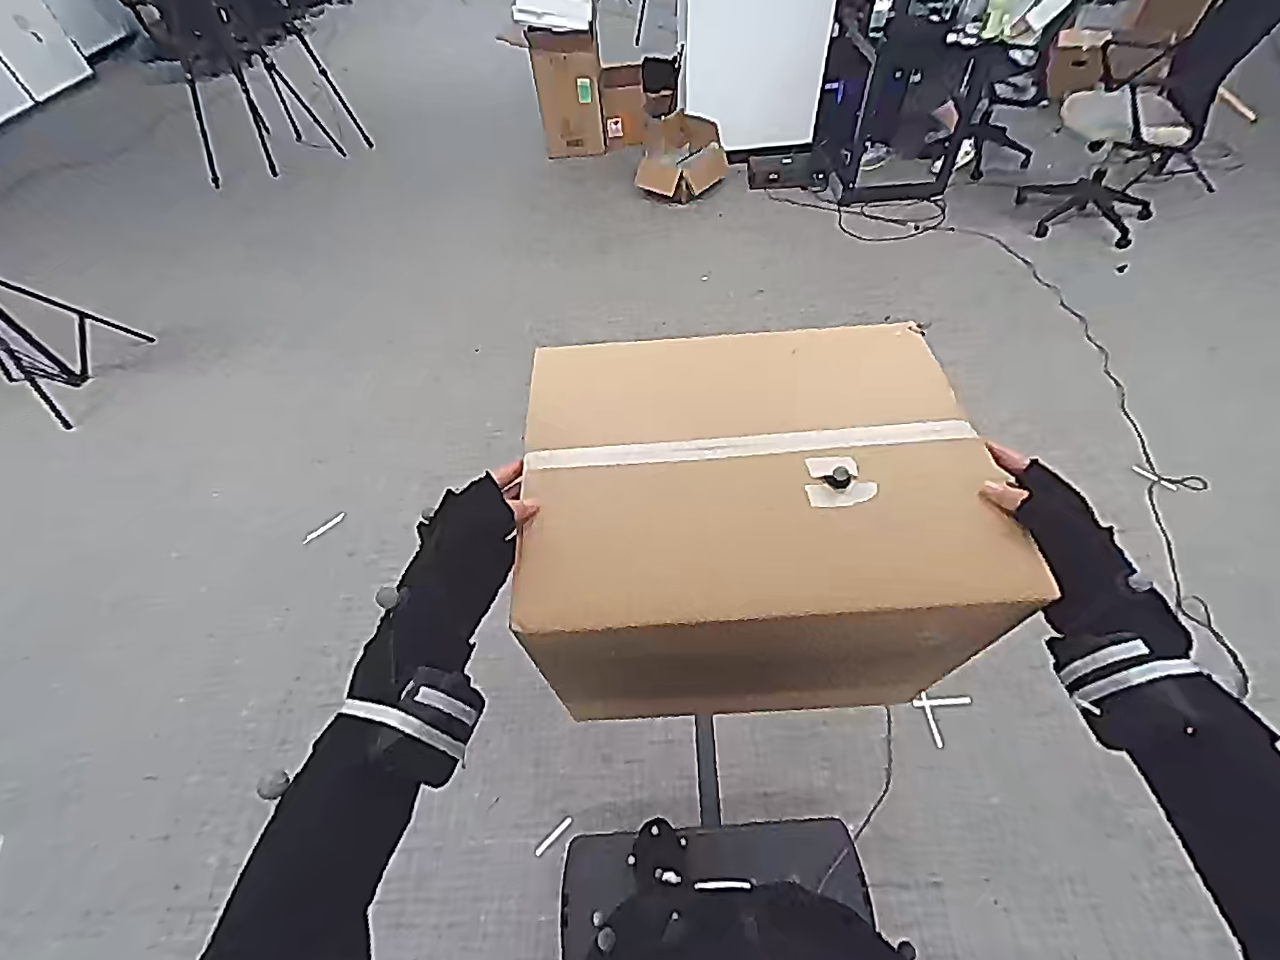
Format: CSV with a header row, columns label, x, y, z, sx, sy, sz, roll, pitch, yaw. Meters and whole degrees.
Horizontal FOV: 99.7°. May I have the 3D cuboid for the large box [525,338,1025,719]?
label,x,y,z,sx,sy,sz,roll,pitch,yaw
large box,0.102,0.068,0.627,0.408,0.320,0.320,-4,55,0
